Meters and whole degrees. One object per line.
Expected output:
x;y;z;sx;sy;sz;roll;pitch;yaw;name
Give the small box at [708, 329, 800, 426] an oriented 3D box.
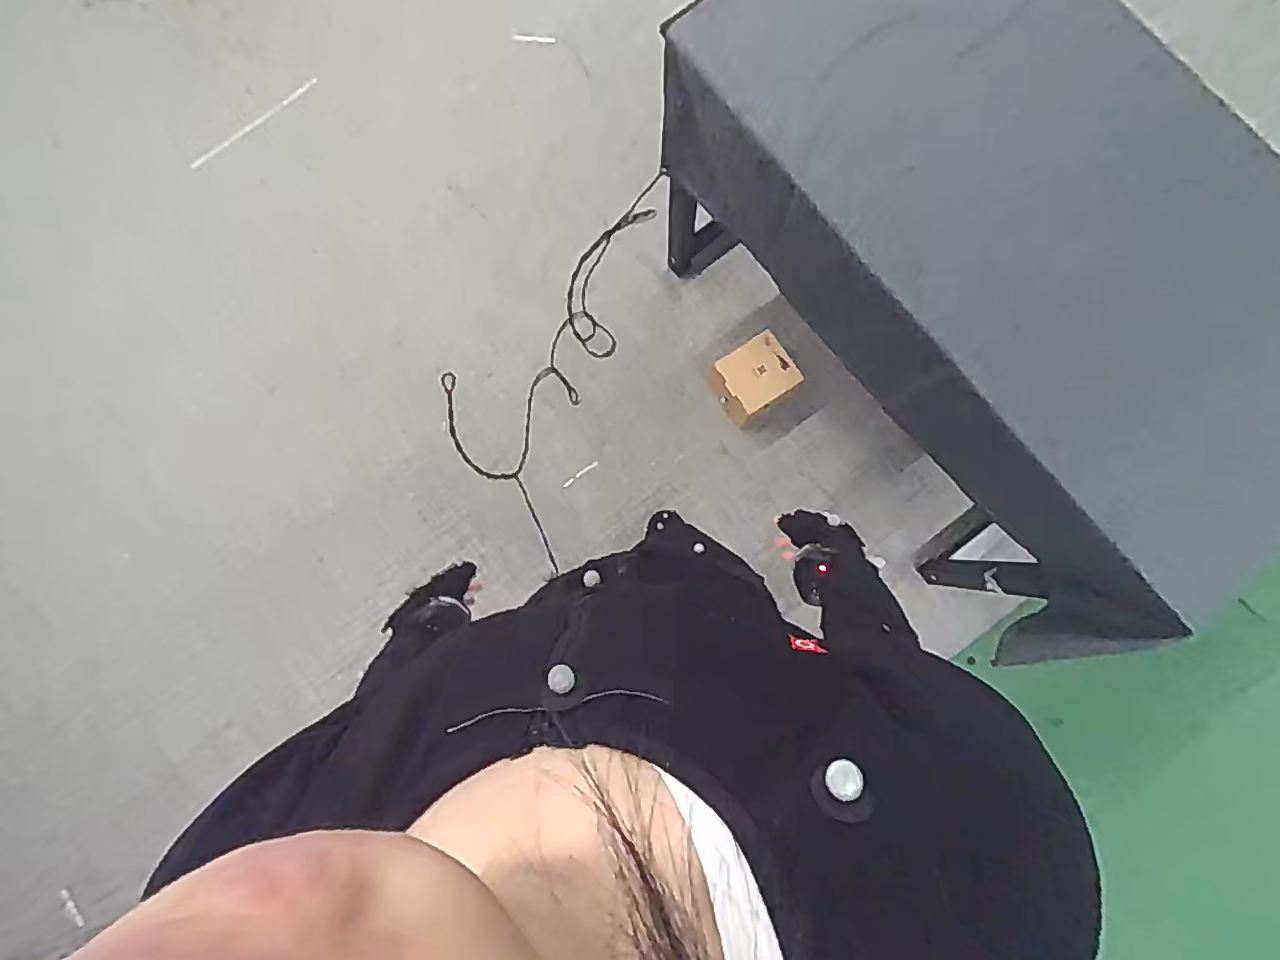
0.296;-0.266;1.454;0.179;0.176;0.168;-33;83;-3;small box
